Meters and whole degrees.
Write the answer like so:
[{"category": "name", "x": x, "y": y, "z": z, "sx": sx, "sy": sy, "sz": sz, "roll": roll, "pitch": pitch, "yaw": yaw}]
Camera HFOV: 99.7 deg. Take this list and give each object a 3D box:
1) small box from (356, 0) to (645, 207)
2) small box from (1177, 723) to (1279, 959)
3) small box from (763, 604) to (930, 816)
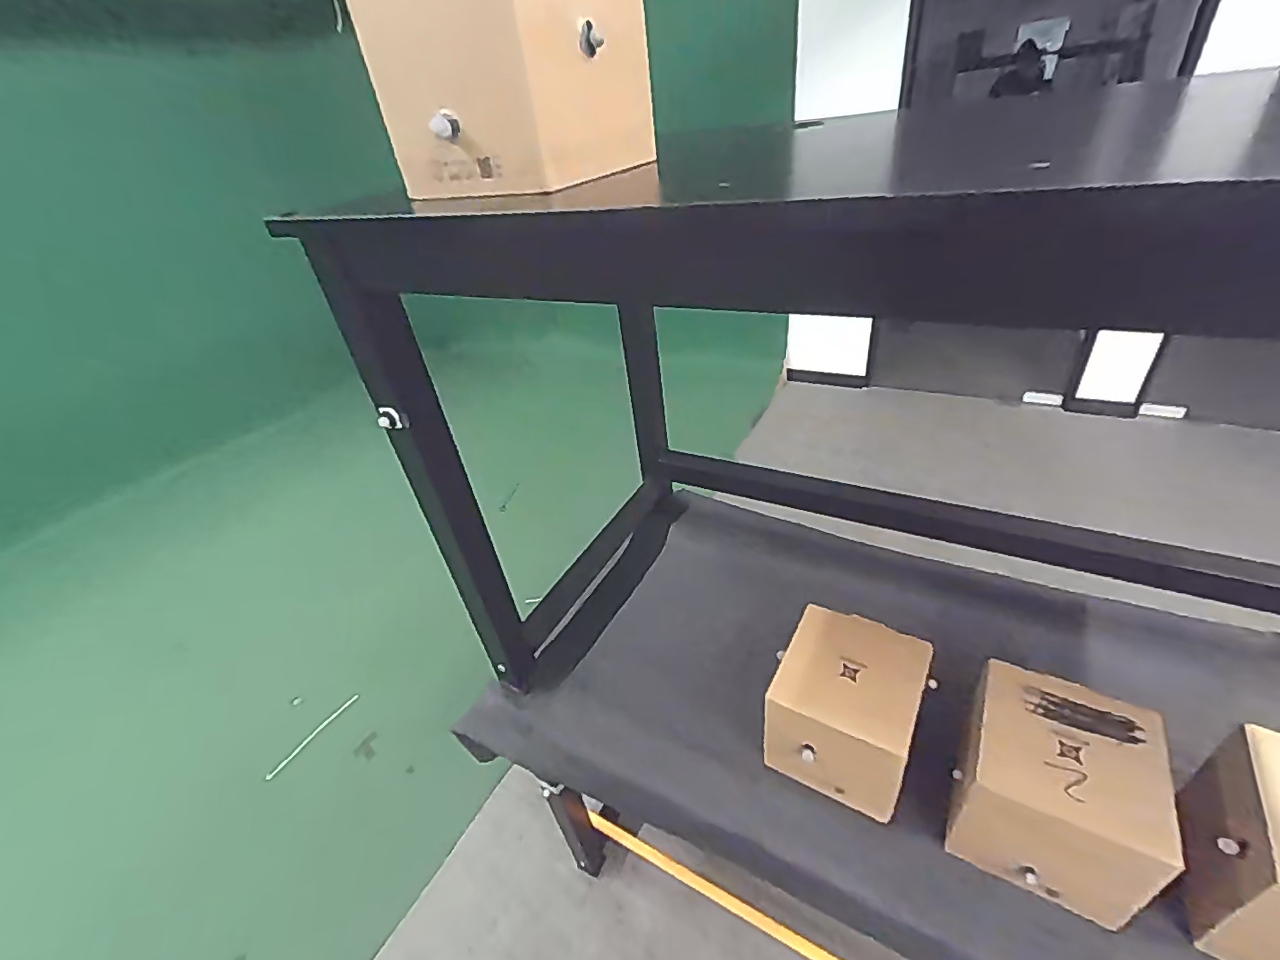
[{"category": "small box", "x": -0.107, "y": -0.347, "z": 0.471, "sx": 0.168, "sy": 0.176, "sz": 0.179, "roll": 13, "pitch": 41, "yaw": 28}, {"category": "small box", "x": 0.672, "y": 0.388, "z": 0.527, "sx": 0.168, "sy": 0.176, "sz": 0.179, "roll": 15, "pitch": 40, "yaw": 31}, {"category": "small box", "x": 0.278, "y": 0.309, "z": 0.735, "sx": 0.168, "sy": 0.176, "sz": 0.179, "roll": 14, "pitch": 40, "yaw": 30}]
